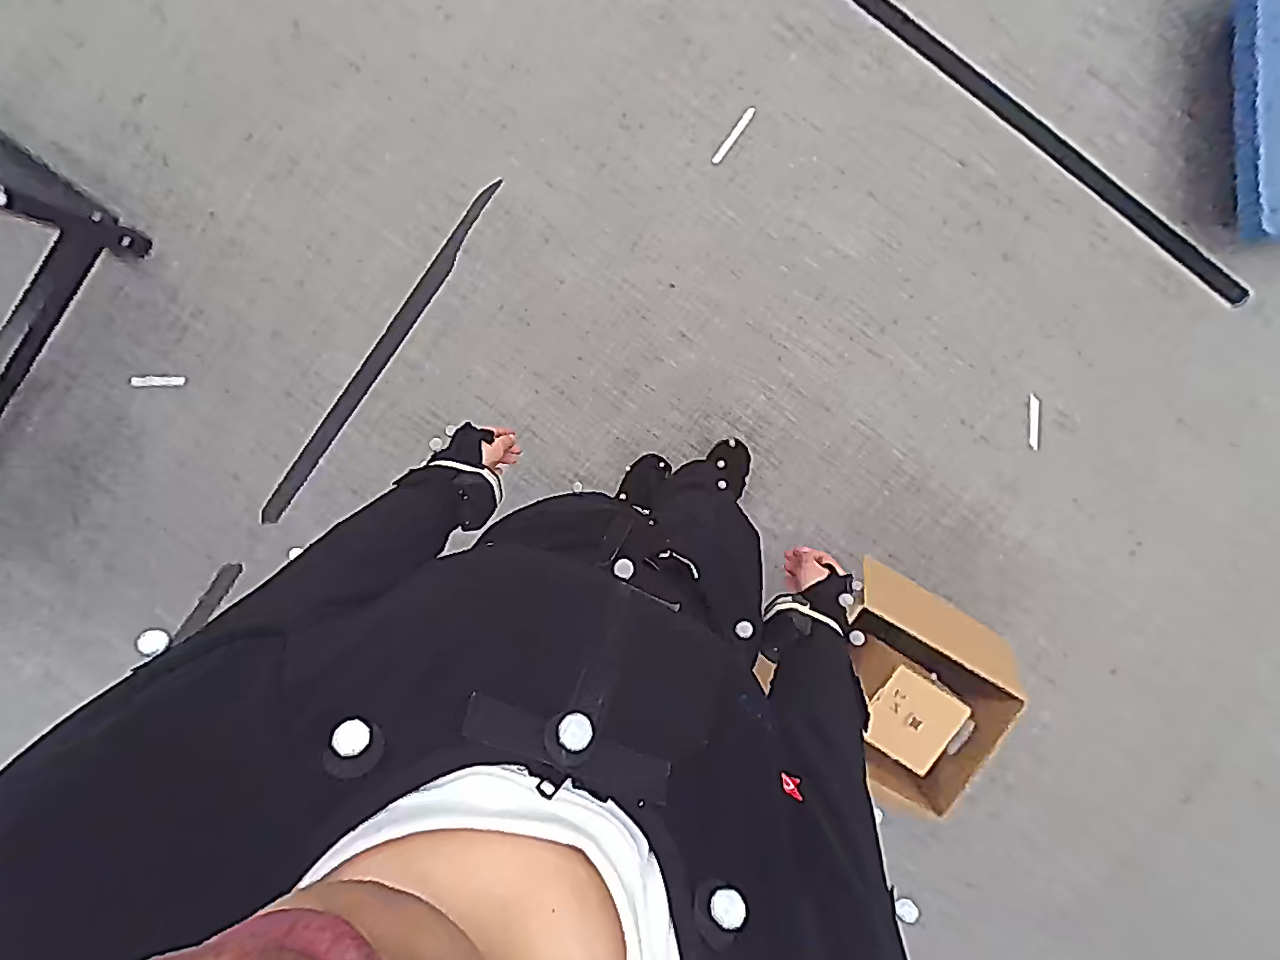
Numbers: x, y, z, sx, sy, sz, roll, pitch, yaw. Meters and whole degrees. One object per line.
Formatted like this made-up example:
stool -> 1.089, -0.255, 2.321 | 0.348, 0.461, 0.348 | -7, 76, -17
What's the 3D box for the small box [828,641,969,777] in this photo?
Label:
small box -> 0.534, 0.471, 1.142 | 0.179, 0.176, 0.168 | 34, 95, -1
